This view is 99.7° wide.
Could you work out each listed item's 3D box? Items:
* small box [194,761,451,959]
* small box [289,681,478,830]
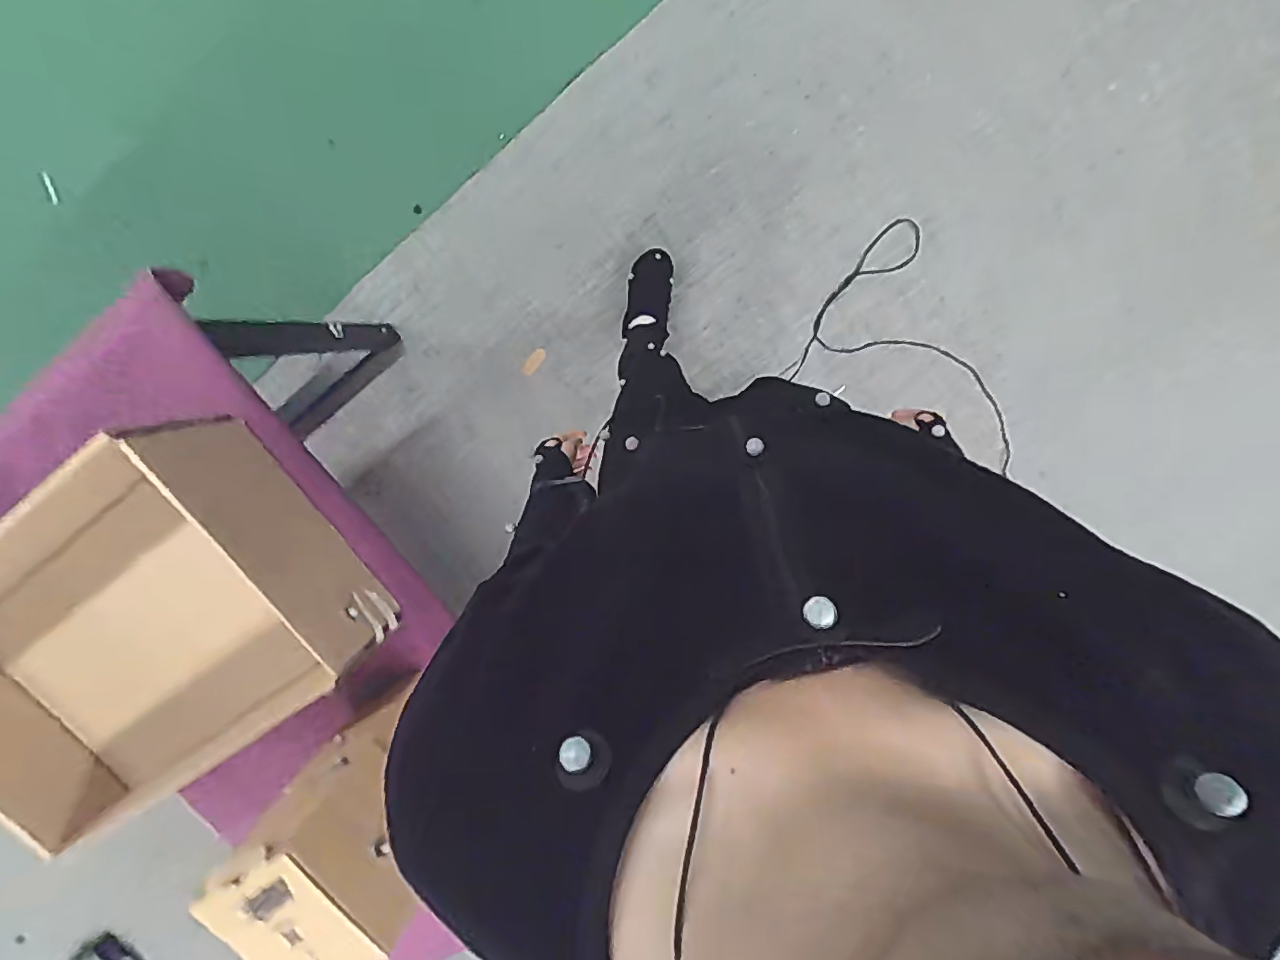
[{"bbox_3d":[-0.377,0.488,0.675,0.168,0.176,0.179,-33,100,13],"label":"small box"},{"bbox_3d":[-0.375,0.447,0.834,0.179,0.176,0.168,-33,99,13],"label":"small box"}]
